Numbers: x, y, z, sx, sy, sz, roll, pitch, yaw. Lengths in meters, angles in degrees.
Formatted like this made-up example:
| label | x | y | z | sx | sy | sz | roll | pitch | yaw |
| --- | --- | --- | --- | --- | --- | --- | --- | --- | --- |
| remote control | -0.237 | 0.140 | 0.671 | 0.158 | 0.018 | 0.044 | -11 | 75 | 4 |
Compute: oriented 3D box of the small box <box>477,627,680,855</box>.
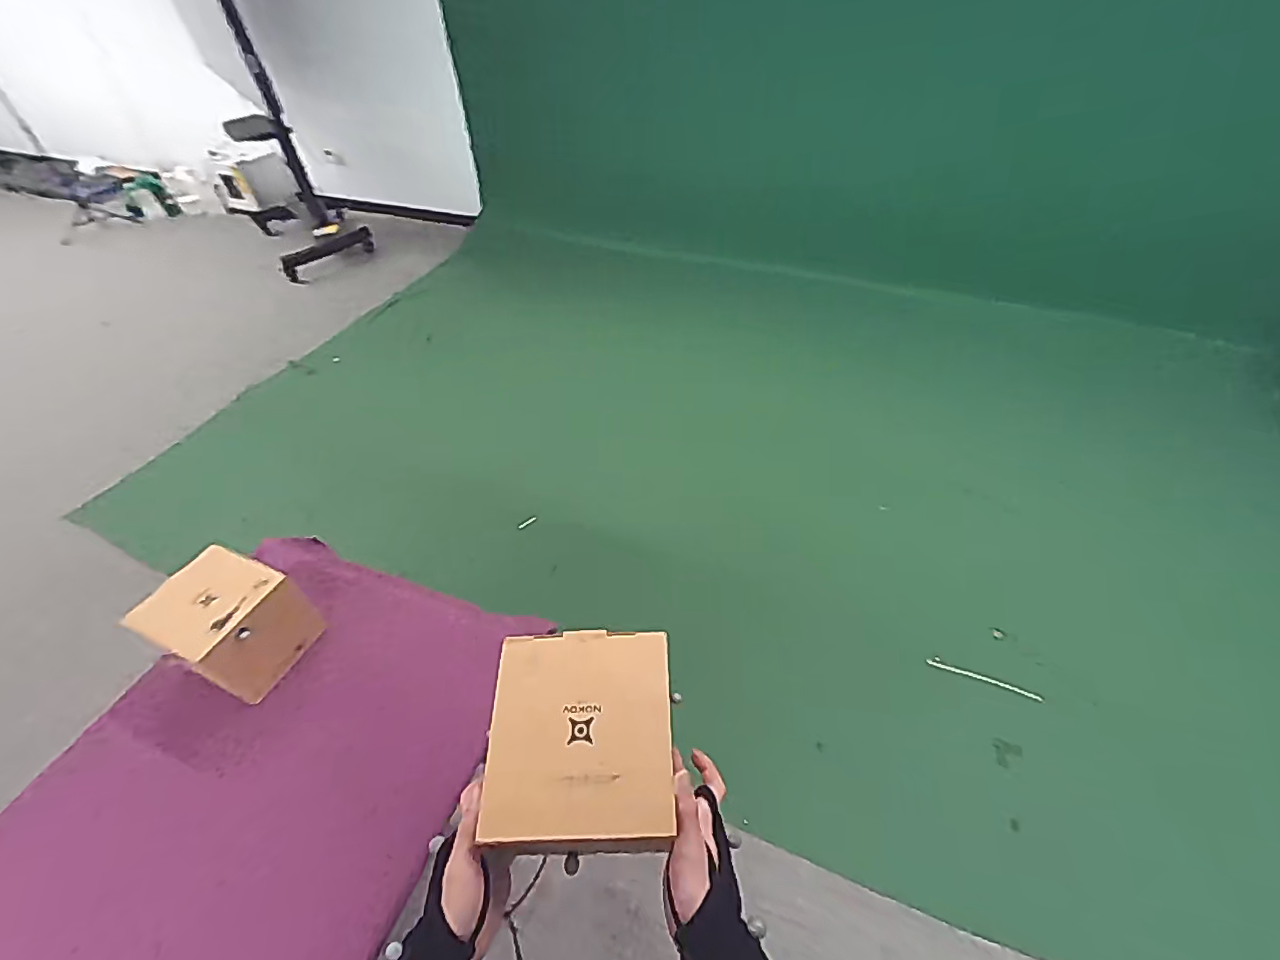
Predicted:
| label | x | y | z | sx | sy | sz | roll | pitch | yaw |
| --- | --- | --- | --- | --- | --- | --- | --- | --- | --- |
| small box | -0.049 | 0.264 | 0.544 | 0.168 | 0.176 | 0.179 | -1 | 52 | 1 |

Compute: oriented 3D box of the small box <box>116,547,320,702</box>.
| label | x | y | z | sx | sy | sz | roll | pitch | yaw |
| --- | --- | --- | --- | --- | --- | --- | --- | --- | --- |
| small box | -0.696 | 0.246 | 0.913 | 0.179 | 0.176 | 0.168 | 16 | 50 | 17 |
